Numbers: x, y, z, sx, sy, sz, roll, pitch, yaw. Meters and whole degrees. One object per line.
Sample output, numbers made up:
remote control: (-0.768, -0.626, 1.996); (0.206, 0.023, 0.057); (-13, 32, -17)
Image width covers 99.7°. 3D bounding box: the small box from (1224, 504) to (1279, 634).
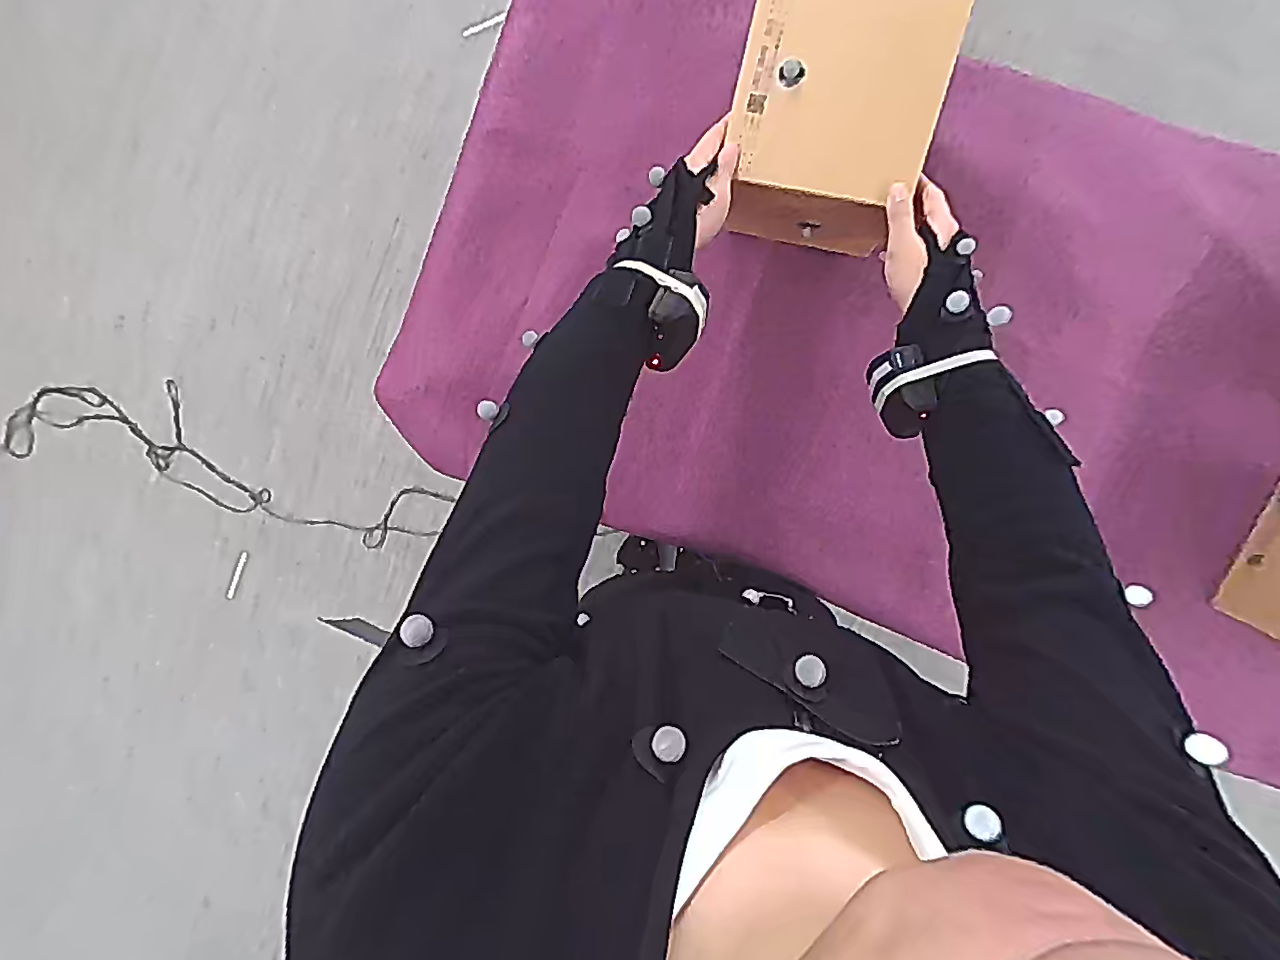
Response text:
small box: (0.736, 0.102, 0.506); (0.179, 0.176, 0.168); (27, 93, 4)
